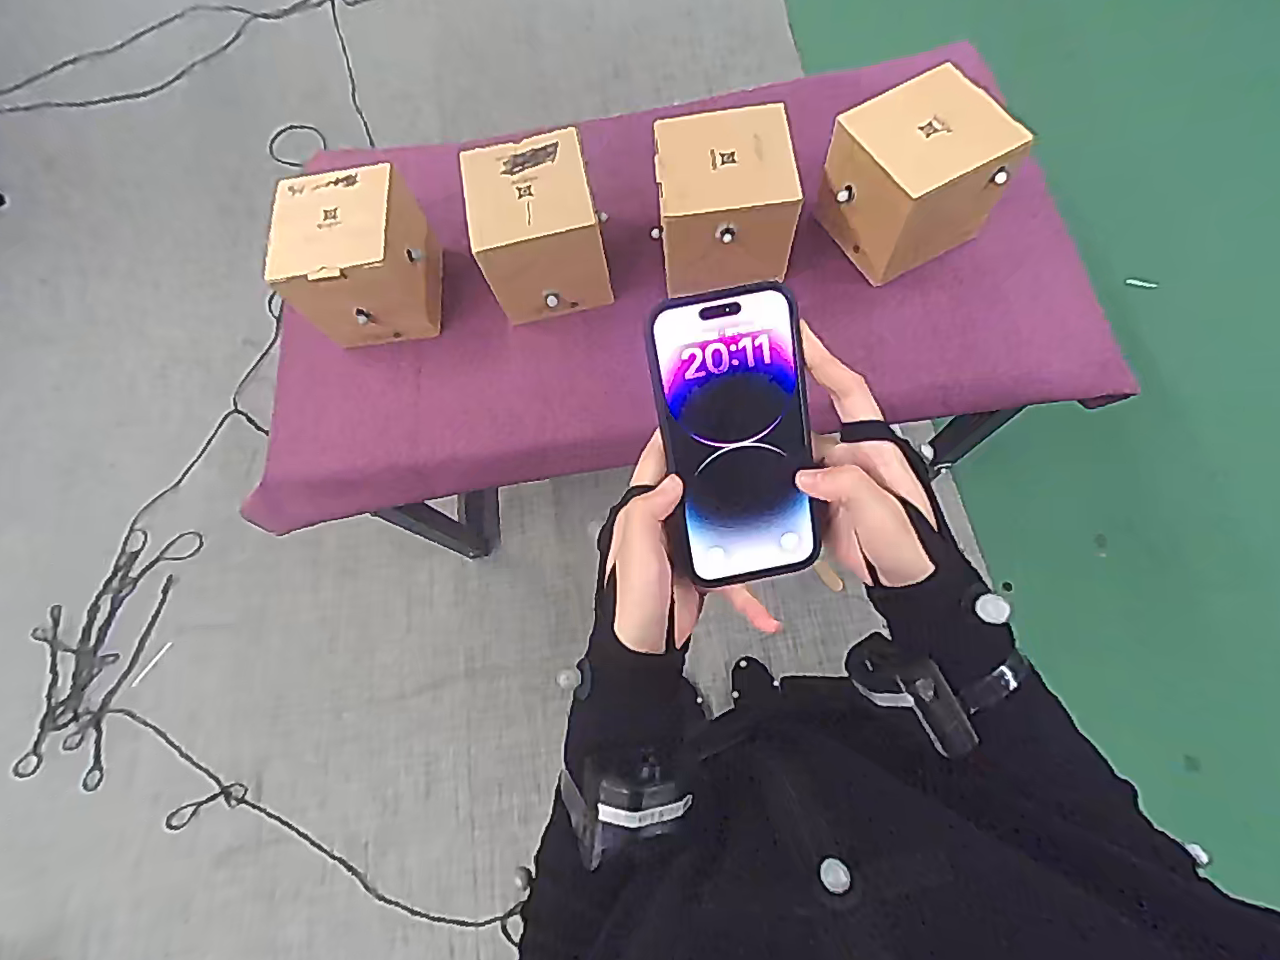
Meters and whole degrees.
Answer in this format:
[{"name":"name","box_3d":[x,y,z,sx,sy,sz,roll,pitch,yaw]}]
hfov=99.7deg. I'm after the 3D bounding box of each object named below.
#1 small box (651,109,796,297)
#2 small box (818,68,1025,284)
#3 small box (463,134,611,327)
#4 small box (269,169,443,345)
[{"name":"small box","box_3d":[0.113,-0.384,0.776,0.179,0.176,0.168,-5,71,4]},{"name":"small box","box_3d":[0.370,-0.412,0.757,0.179,0.176,0.168,-28,70,-4]},{"name":"small box","box_3d":[-0.144,-0.357,0.793,0.168,0.176,0.179,-12,71,2]},{"name":"small box","box_3d":[-0.409,-0.319,0.808,0.168,0.176,0.179,-7,71,4]}]
